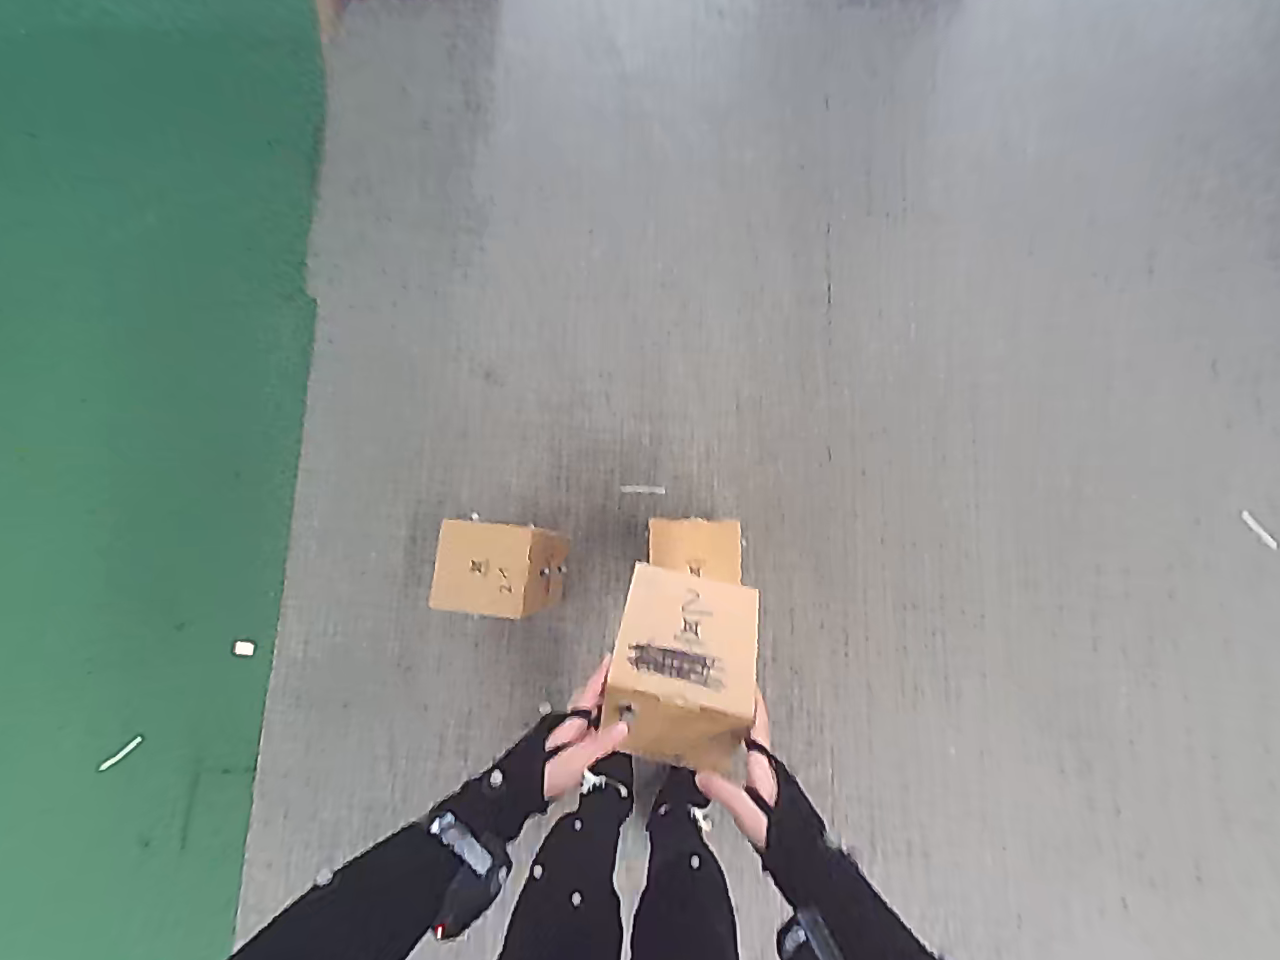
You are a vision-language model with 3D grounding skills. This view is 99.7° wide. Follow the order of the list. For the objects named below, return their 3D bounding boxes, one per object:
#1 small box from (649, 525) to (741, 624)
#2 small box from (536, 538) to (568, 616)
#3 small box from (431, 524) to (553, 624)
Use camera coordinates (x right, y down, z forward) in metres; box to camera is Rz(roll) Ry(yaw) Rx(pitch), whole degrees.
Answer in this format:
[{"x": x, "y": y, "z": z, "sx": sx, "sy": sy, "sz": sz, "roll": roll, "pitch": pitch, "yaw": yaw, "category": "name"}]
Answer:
[{"x": 0.104, "y": 0.179, "z": 1.044, "sx": 0.168, "sy": 0.176, "sz": 0.179, "roll": -1, "pitch": 81, "yaw": 3, "category": "small box"}, {"x": -0.265, "y": 0.209, "z": 1.226, "sx": 0.179, "sy": 0.176, "sz": 0.168, "roll": 5, "pitch": 82, "yaw": 3, "category": "small box"}, {"x": -0.282, "y": 0.183, "z": 1.064, "sx": 0.179, "sy": 0.176, "sz": 0.168, "roll": 6, "pitch": 82, "yaw": 3, "category": "small box"}]
